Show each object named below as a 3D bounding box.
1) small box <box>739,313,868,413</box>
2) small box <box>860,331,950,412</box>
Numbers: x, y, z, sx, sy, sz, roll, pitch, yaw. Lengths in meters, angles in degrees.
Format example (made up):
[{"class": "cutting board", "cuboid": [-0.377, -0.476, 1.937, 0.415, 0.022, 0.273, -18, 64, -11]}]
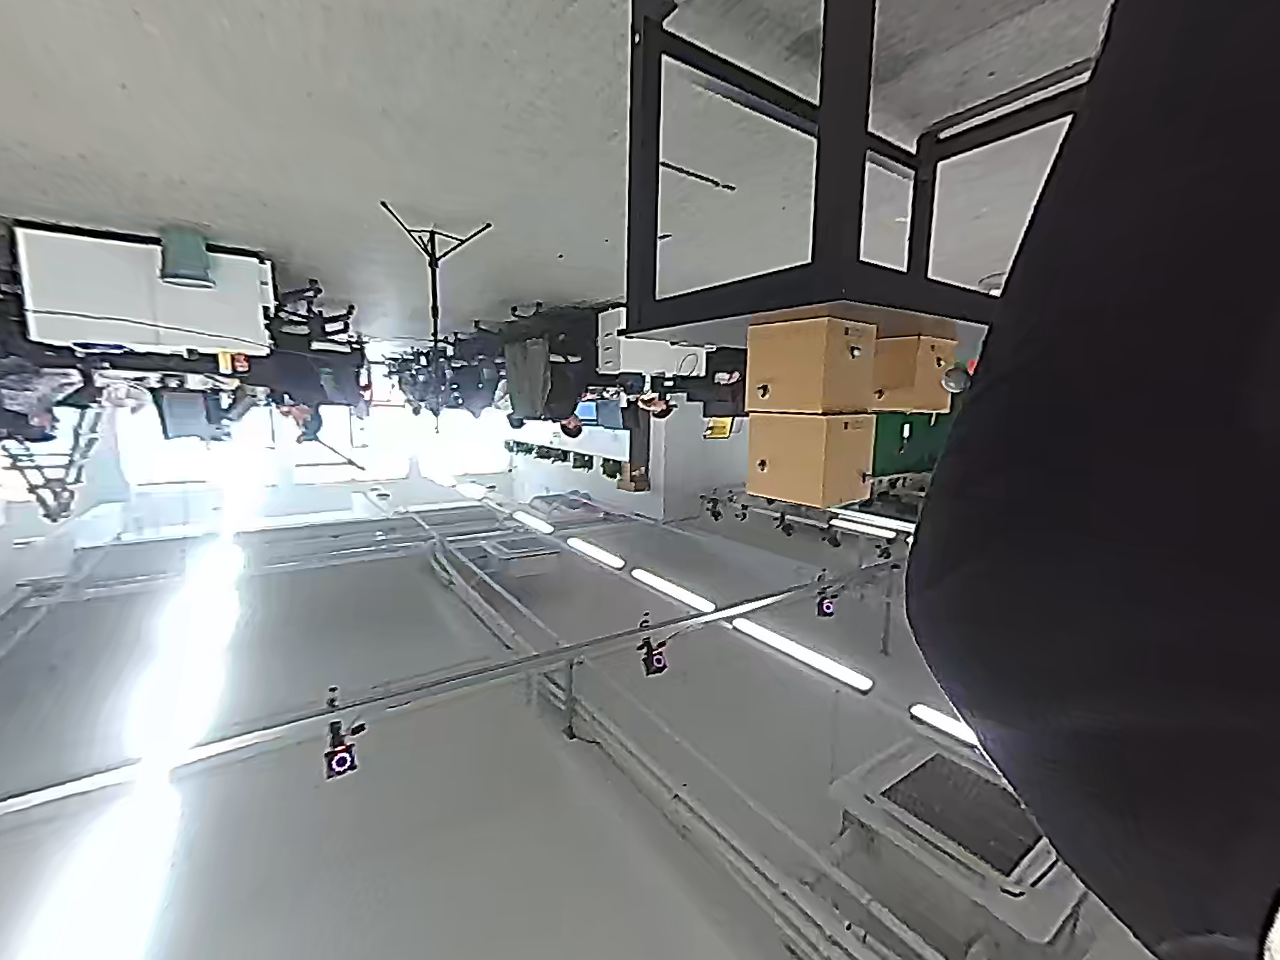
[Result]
[{"class": "small box", "cuboid": [0.312, -0.217, 1.034, 0.168, 0.176, 0.179, -7, -168, -39]}, {"class": "small box", "cuboid": [0.597, -0.251, 1.271, 0.168, 0.176, 0.179, -5, -170, -33]}]
